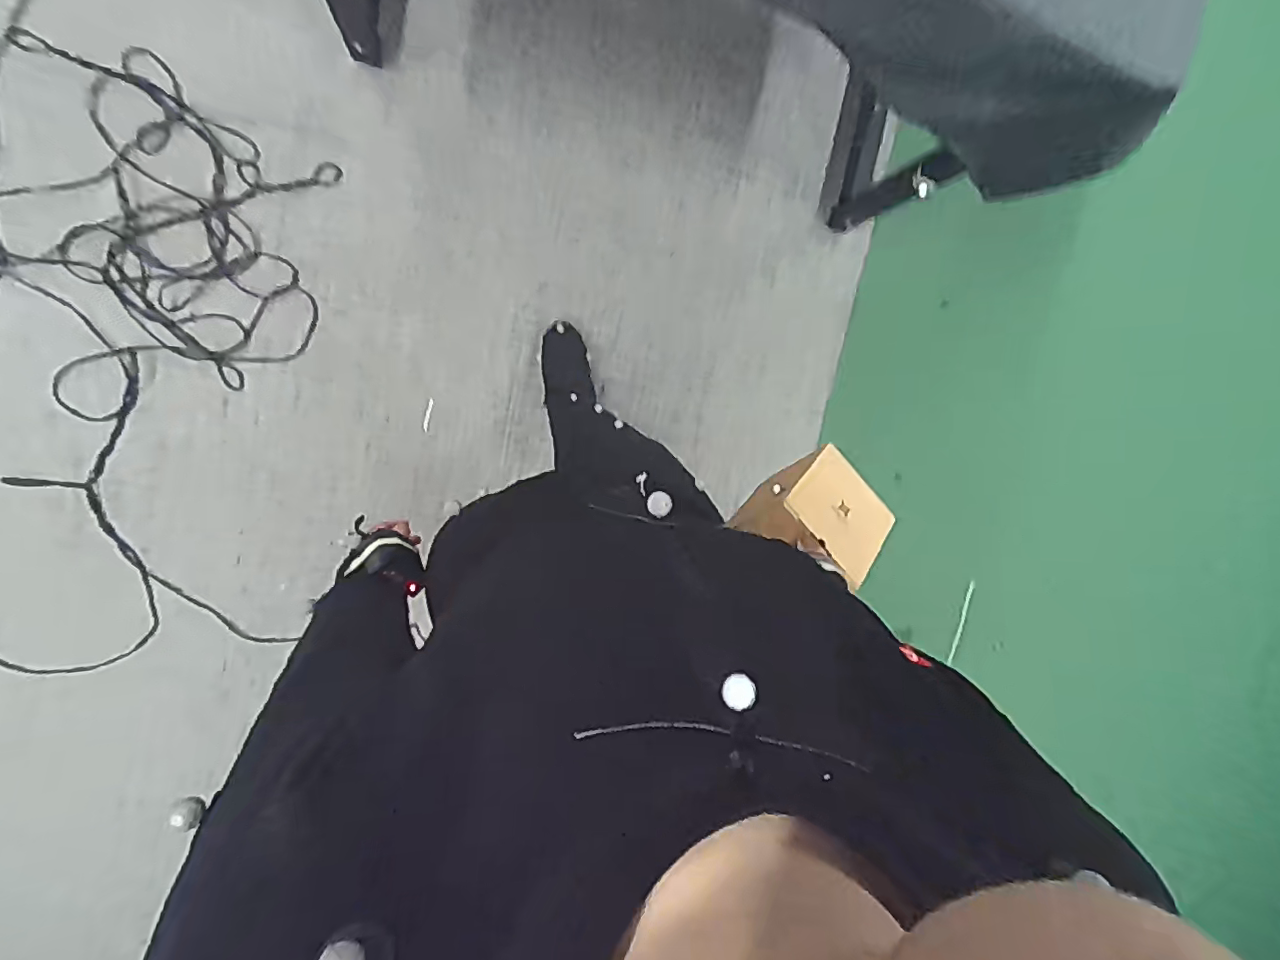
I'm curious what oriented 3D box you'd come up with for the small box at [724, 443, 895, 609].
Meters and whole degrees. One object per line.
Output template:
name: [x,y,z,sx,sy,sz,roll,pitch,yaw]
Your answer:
small box: [0.264,0.077,0.862,0.168,0.176,0.179,48,51,-1]
